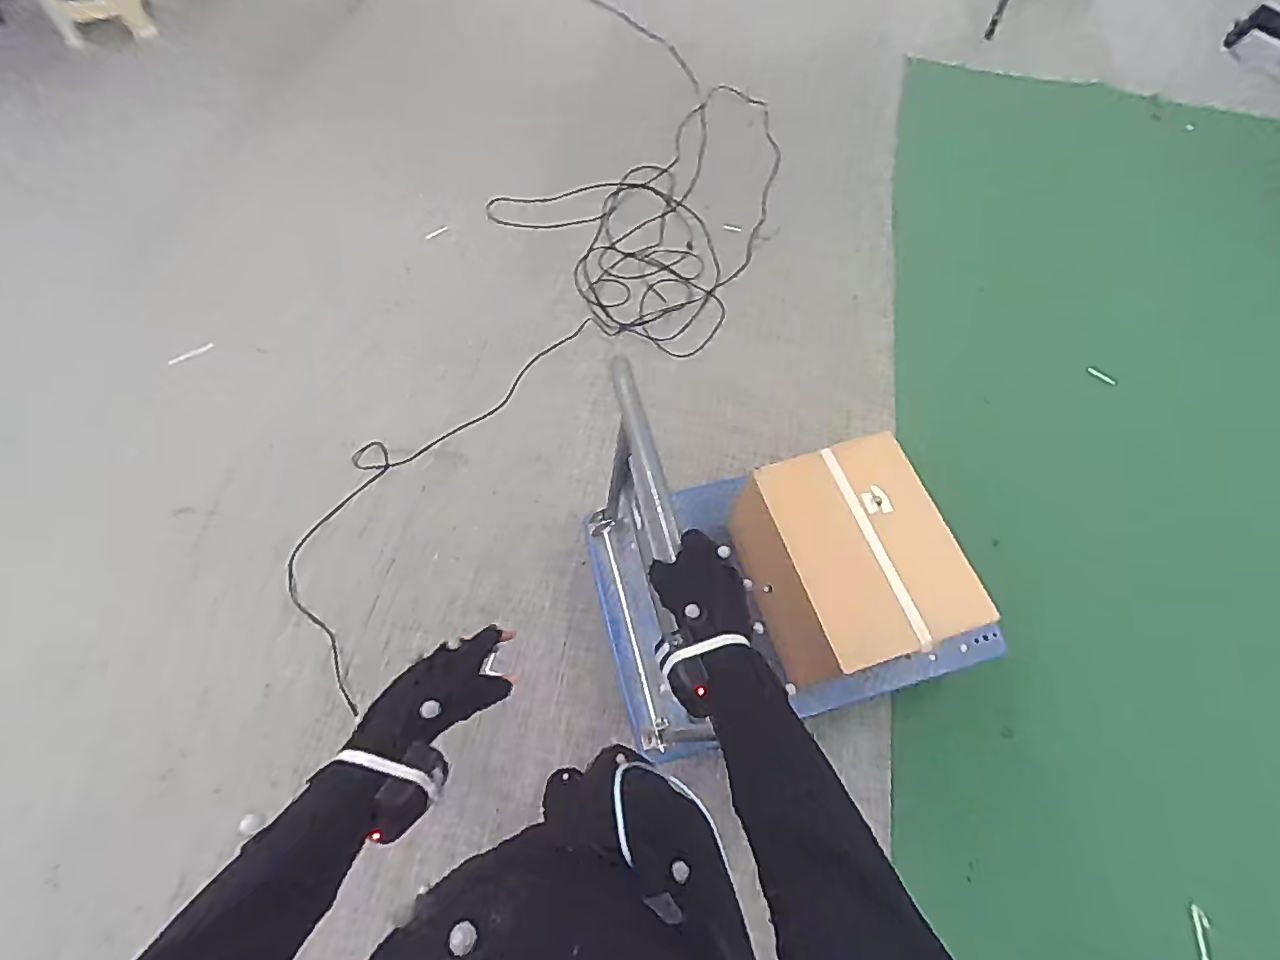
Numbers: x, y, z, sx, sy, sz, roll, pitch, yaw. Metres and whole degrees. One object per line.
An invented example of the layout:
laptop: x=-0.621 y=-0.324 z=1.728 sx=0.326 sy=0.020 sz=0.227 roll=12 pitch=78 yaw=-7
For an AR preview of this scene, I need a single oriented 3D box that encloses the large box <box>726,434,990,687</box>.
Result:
large box: x=0.417 y=0.179 z=1.149 sx=0.320 sy=0.320 sz=0.408 roll=-15 pitch=65 yaw=-10
